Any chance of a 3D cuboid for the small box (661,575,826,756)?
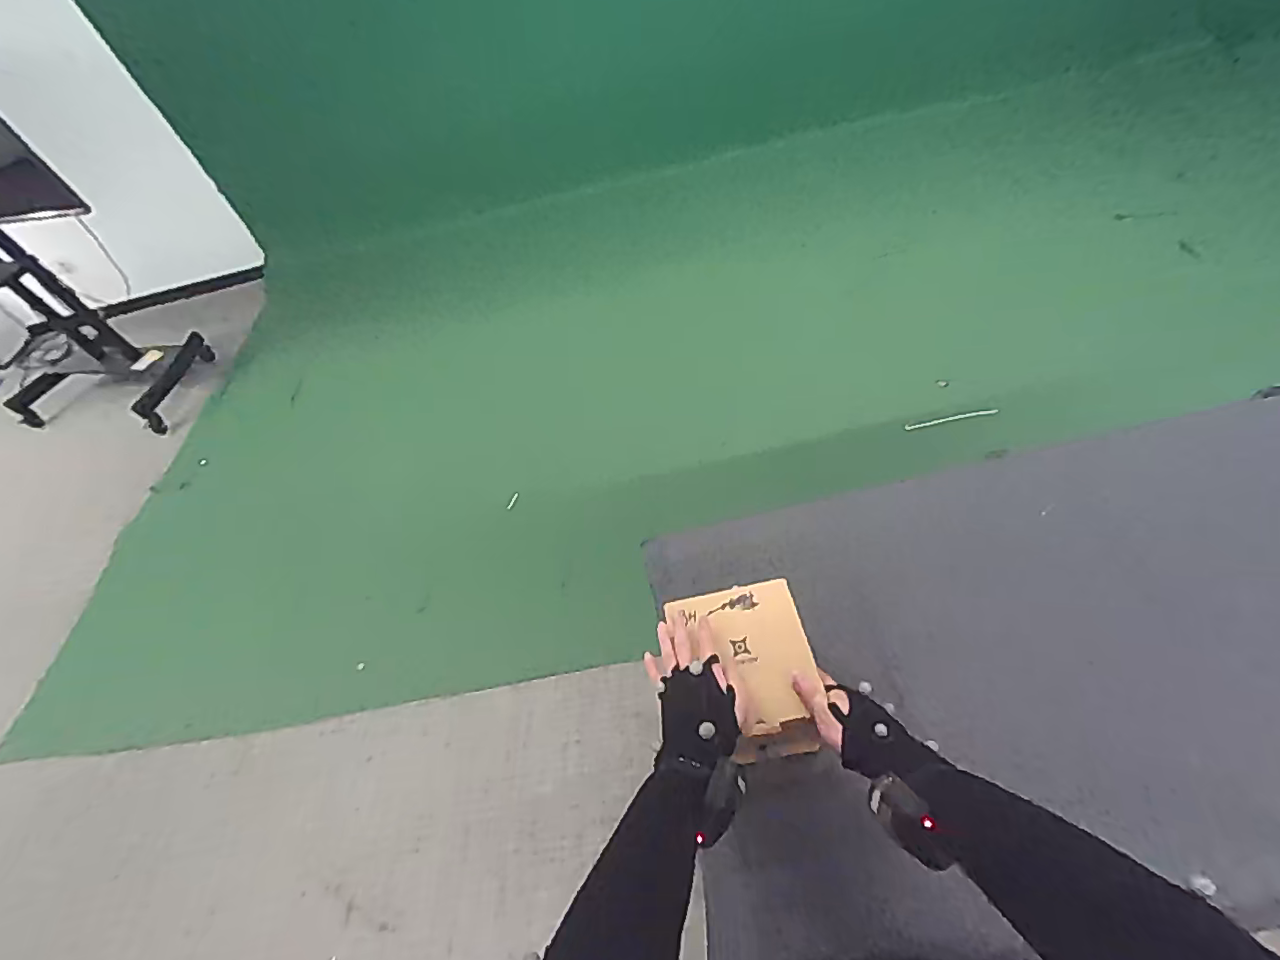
[{"bbox_3d":[0.130,0.253,0.717,0.168,0.176,0.179,-11,52,1],"label":"small box"}]
